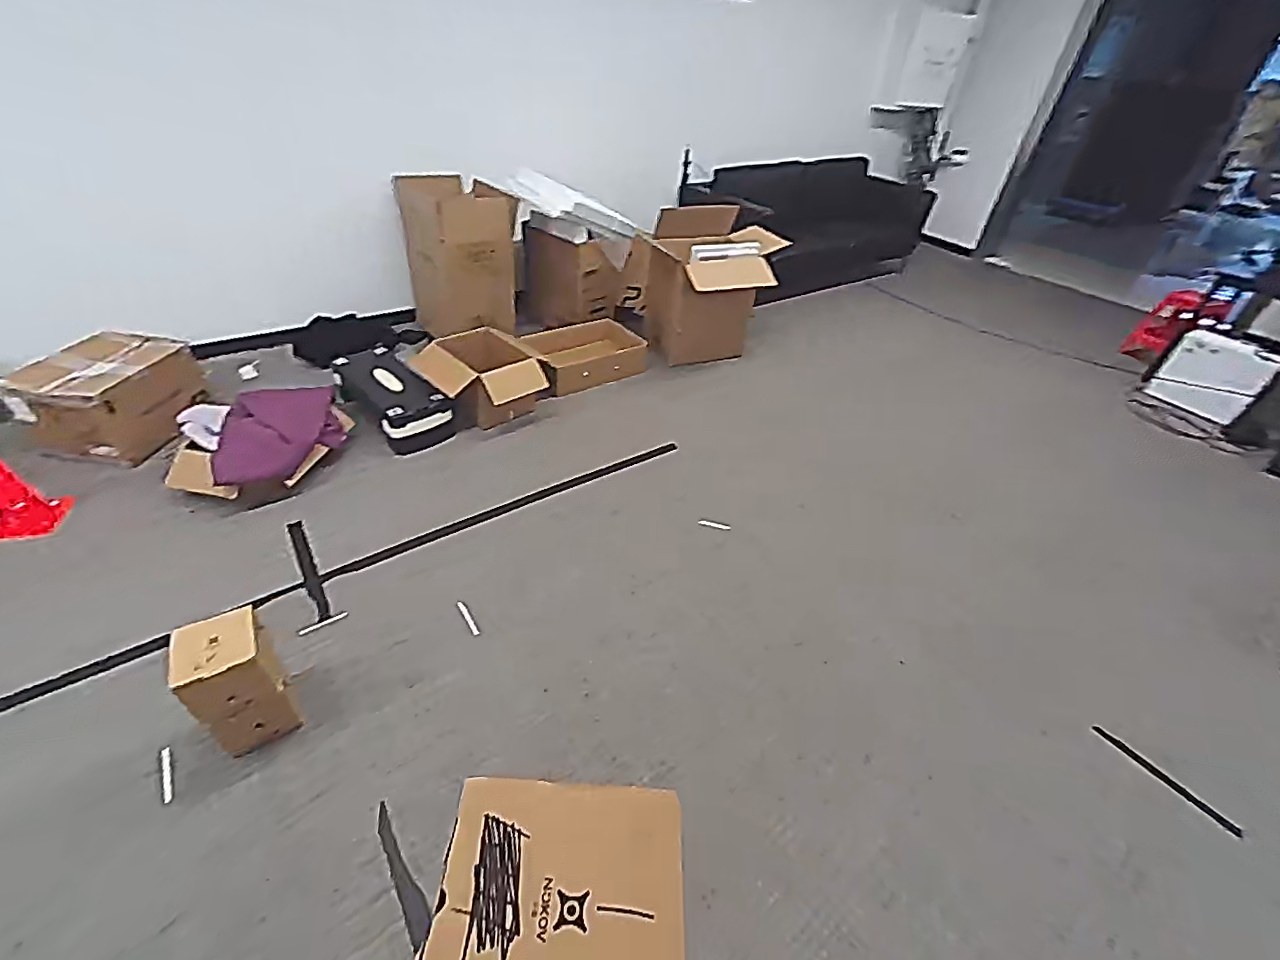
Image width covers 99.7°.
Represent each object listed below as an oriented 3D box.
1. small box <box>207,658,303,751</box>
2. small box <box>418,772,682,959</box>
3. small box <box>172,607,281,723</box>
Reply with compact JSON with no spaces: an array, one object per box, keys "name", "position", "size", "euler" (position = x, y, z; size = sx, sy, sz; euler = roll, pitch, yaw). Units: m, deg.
[{"name":"small box","position":[-1.020,0.583,1.429],"size":[0.168,0.176,0.179],"euler":[-23,48,-30]},{"name":"small box","position":[-0.064,0.357,0.429],"size":[0.179,0.176,0.168],"euler":[5,39,-3]},{"name":"small box","position":[-1.008,0.453,1.327],"size":[0.168,0.176,0.179],"euler":[-19,45,-26]}]
